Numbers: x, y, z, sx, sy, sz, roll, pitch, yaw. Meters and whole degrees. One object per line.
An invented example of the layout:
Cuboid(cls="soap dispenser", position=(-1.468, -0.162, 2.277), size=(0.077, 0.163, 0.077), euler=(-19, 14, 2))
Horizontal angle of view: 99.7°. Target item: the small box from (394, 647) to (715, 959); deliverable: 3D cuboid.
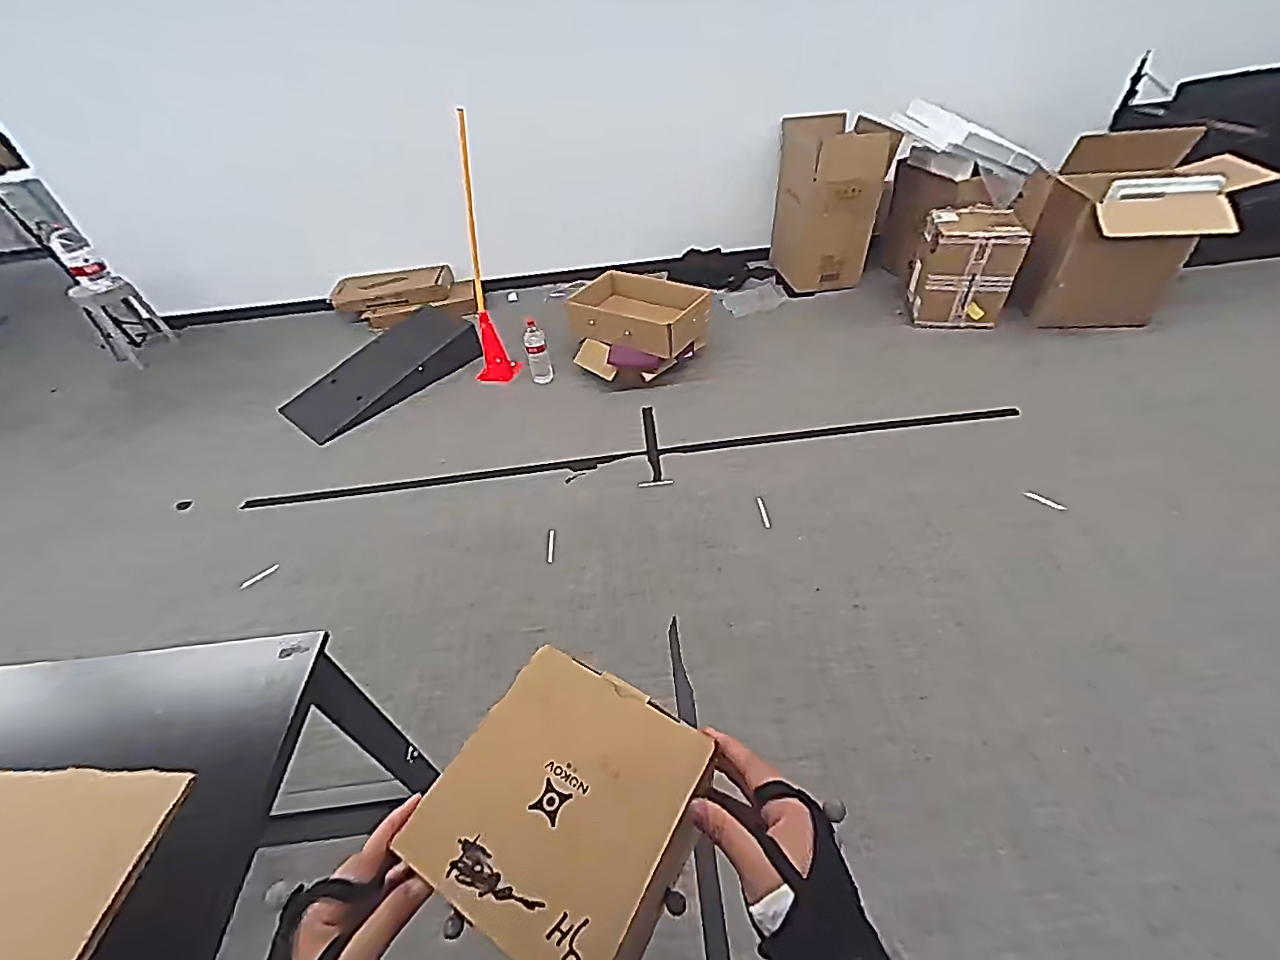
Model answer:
Cuboid(cls="small box", position=(-0.053, 0.280, 0.440), size=(0.168, 0.176, 0.179), euler=(20, 48, 26))
